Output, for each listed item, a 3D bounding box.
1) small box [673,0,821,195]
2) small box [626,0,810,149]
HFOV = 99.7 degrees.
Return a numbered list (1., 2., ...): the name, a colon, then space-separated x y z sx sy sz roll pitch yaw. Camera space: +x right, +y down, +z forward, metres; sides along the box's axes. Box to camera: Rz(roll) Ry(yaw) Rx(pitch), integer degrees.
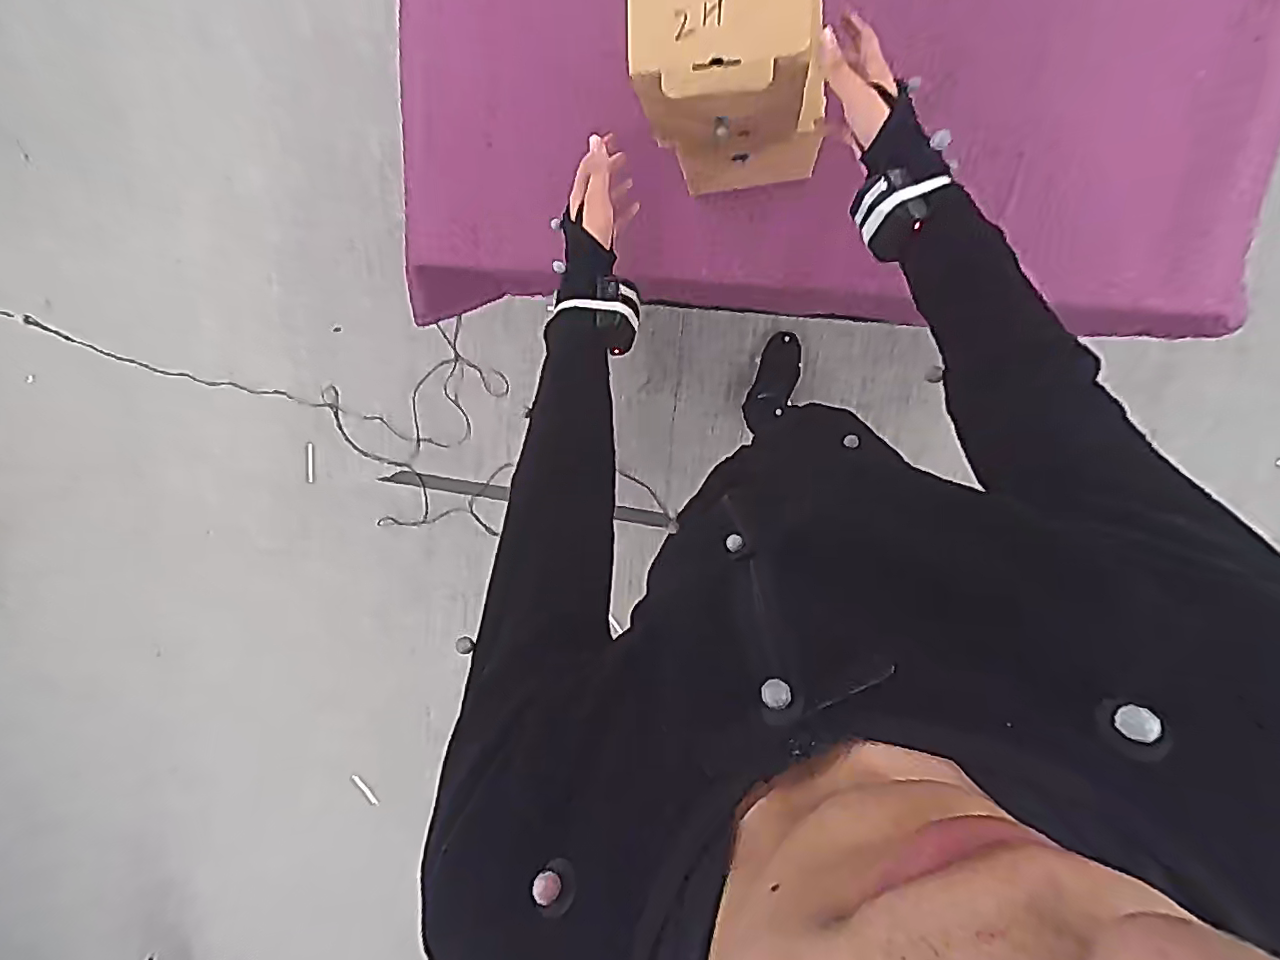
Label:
1. small box: 0.136 -0.494 0.710 0.179 0.176 0.168 -3 101 11
2. small box: 0.084 -0.472 0.553 0.168 0.176 0.179 3 102 11
